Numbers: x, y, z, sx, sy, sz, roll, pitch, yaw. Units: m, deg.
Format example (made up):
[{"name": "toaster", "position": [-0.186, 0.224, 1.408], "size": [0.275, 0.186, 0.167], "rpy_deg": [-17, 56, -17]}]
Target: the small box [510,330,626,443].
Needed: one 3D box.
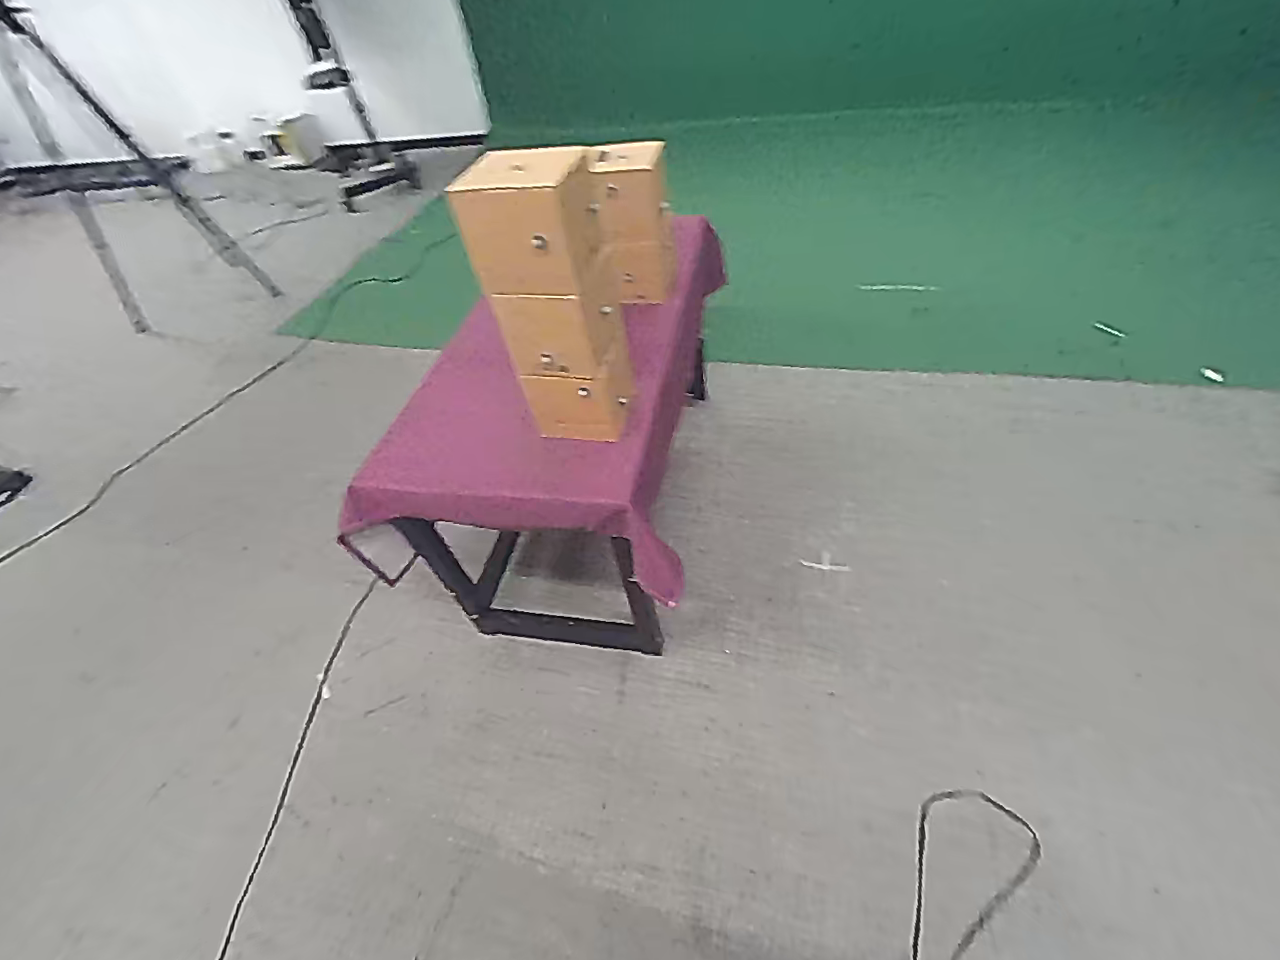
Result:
[{"name": "small box", "position": [-0.139, -0.193, 1.120], "size": [0.179, 0.176, 0.168], "rpy_deg": [4, 49, 13]}]

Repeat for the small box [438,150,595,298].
[{"name": "small box", "position": [-0.185, -0.412, 0.881], "size": [0.179, 0.176, 0.168], "rpy_deg": [5, 49, 14]}]

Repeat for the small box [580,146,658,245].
[{"name": "small box", "position": [-0.061, -0.693, 1.326], "size": [0.179, 0.176, 0.168], "rpy_deg": [3, 50, 11]}]

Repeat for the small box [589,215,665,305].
[{"name": "small box", "position": [-0.031, -0.585, 1.447], "size": [0.168, 0.176, 0.179], "rpy_deg": [5, 50, 13]}]
